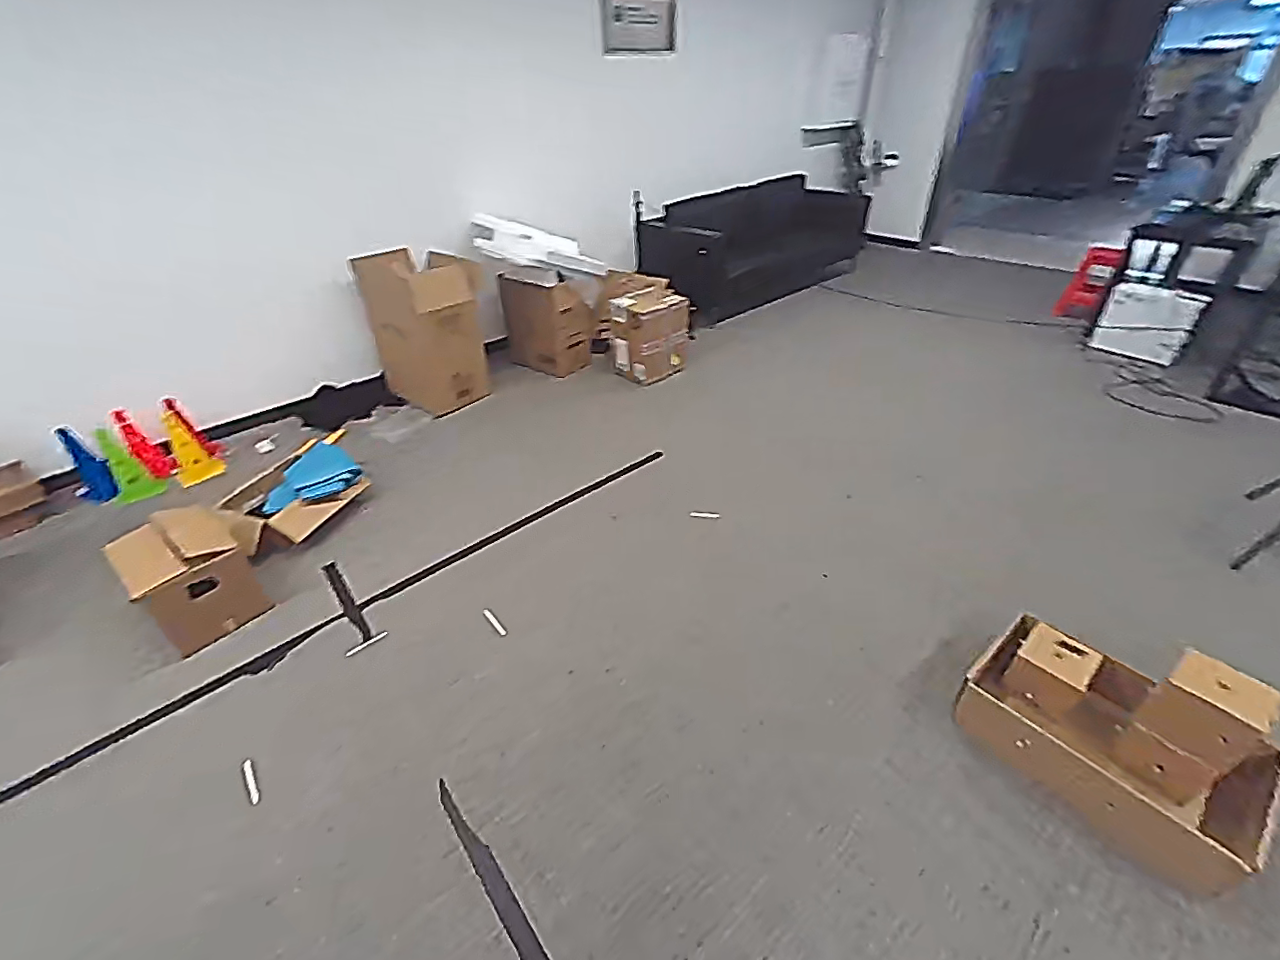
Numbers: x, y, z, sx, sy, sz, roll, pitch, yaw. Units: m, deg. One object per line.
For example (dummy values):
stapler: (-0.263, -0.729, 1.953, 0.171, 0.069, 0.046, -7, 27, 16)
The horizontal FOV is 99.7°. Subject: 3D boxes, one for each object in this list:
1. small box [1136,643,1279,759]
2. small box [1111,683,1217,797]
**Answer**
small box: (1.379, 0.545, 1.321, 0.168, 0.176, 0.179, -25, 38, -30)
small box: (1.382, 0.681, 1.415, 0.179, 0.176, 0.168, -28, 39, -28)
